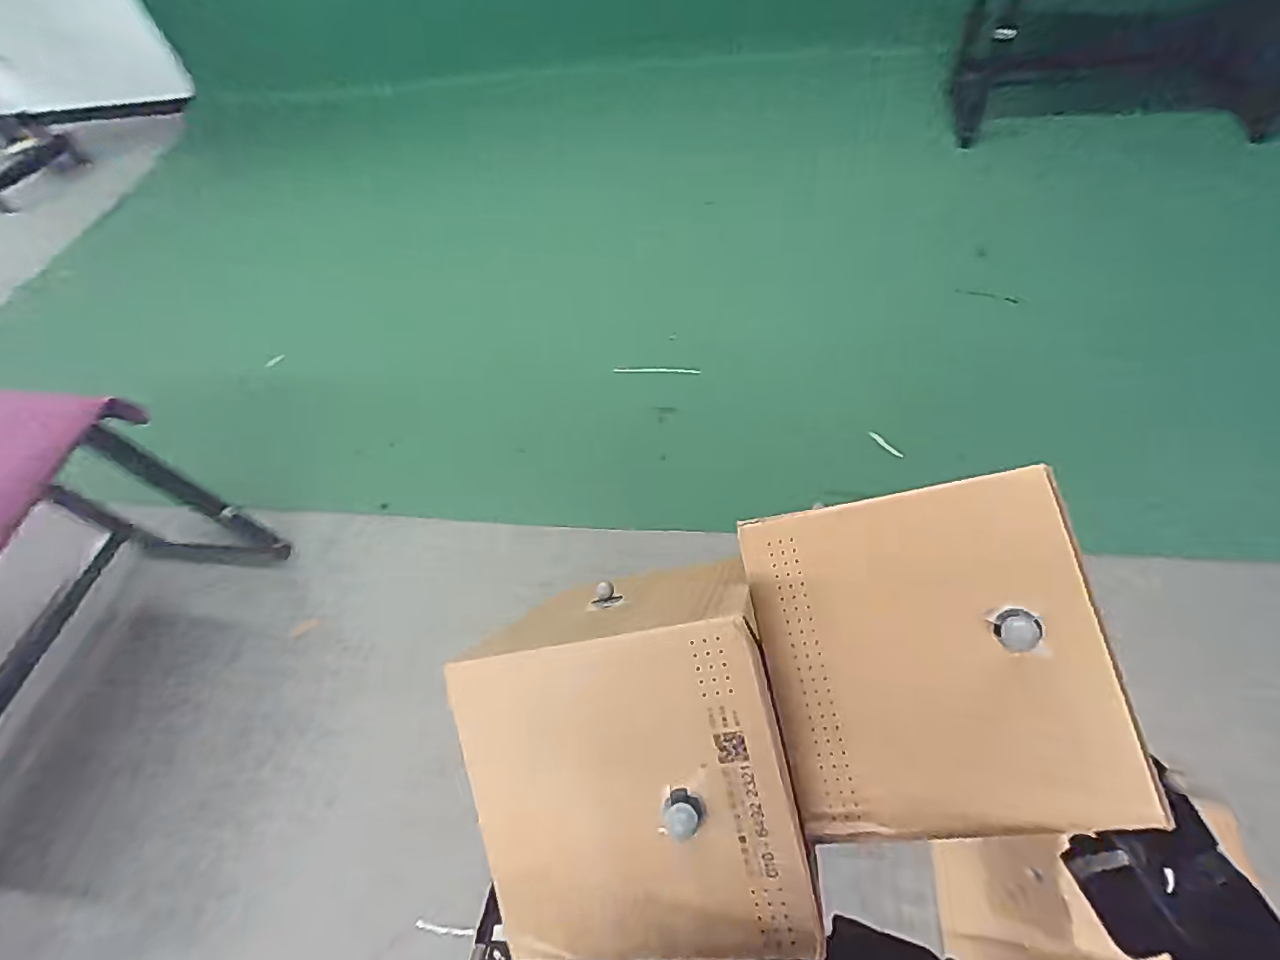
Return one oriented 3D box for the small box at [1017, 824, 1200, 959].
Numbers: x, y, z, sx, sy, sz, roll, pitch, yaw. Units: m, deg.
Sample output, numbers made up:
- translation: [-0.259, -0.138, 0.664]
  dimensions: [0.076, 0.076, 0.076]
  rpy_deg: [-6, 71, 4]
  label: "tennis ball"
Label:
- translation: [0.754, 0.691, 0.896]
  dimensions: [0.179, 0.176, 0.168]
  rpy_deg: [9, 61, 14]
  label: "small box"
